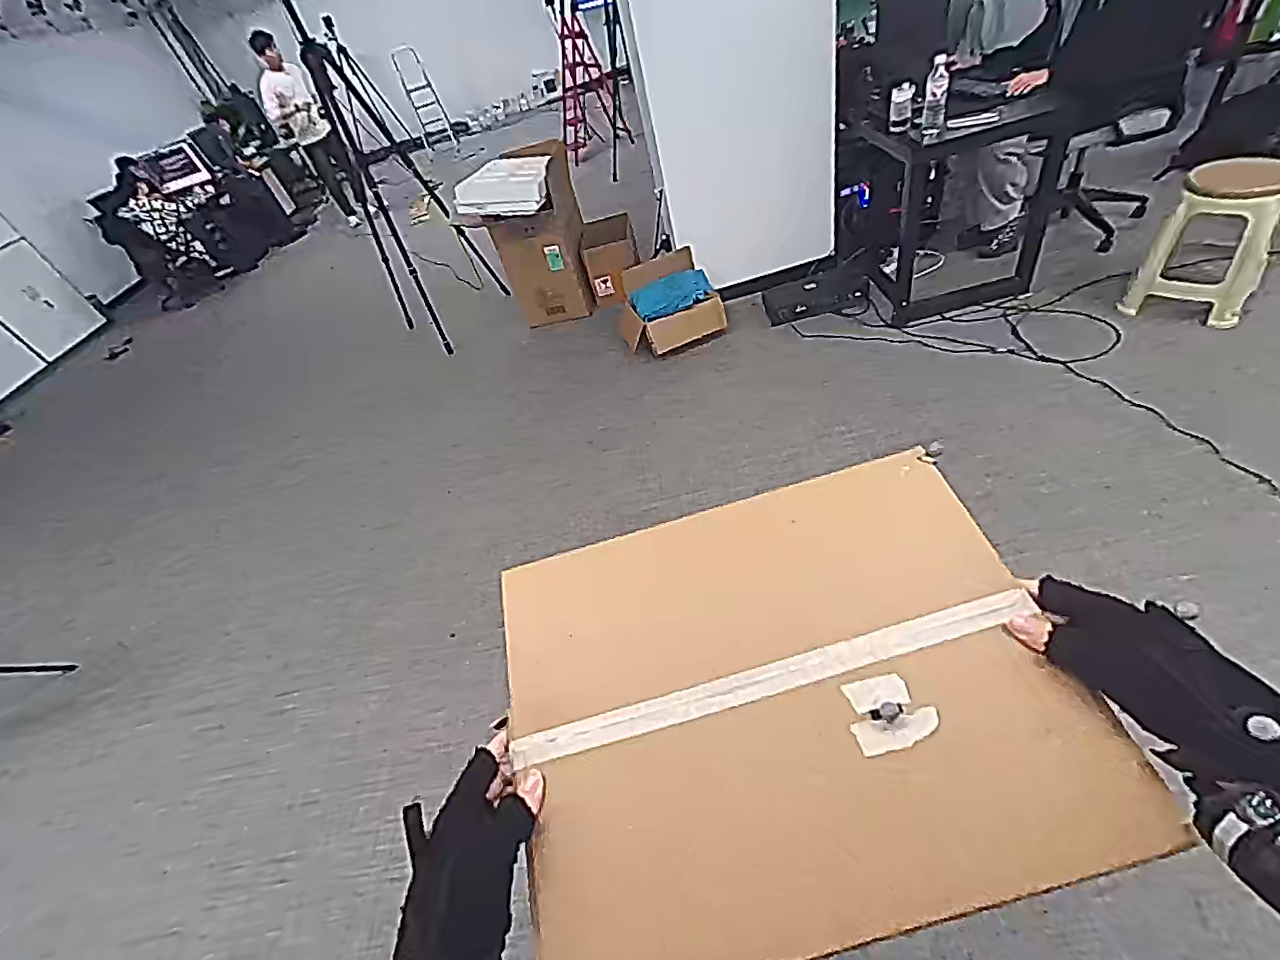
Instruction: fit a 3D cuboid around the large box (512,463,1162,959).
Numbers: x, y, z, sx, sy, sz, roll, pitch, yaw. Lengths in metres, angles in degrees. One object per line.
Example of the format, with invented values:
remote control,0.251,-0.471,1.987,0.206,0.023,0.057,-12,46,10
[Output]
large box,0.128,0.243,0.542,0.408,0.320,0.320,-17,55,0
